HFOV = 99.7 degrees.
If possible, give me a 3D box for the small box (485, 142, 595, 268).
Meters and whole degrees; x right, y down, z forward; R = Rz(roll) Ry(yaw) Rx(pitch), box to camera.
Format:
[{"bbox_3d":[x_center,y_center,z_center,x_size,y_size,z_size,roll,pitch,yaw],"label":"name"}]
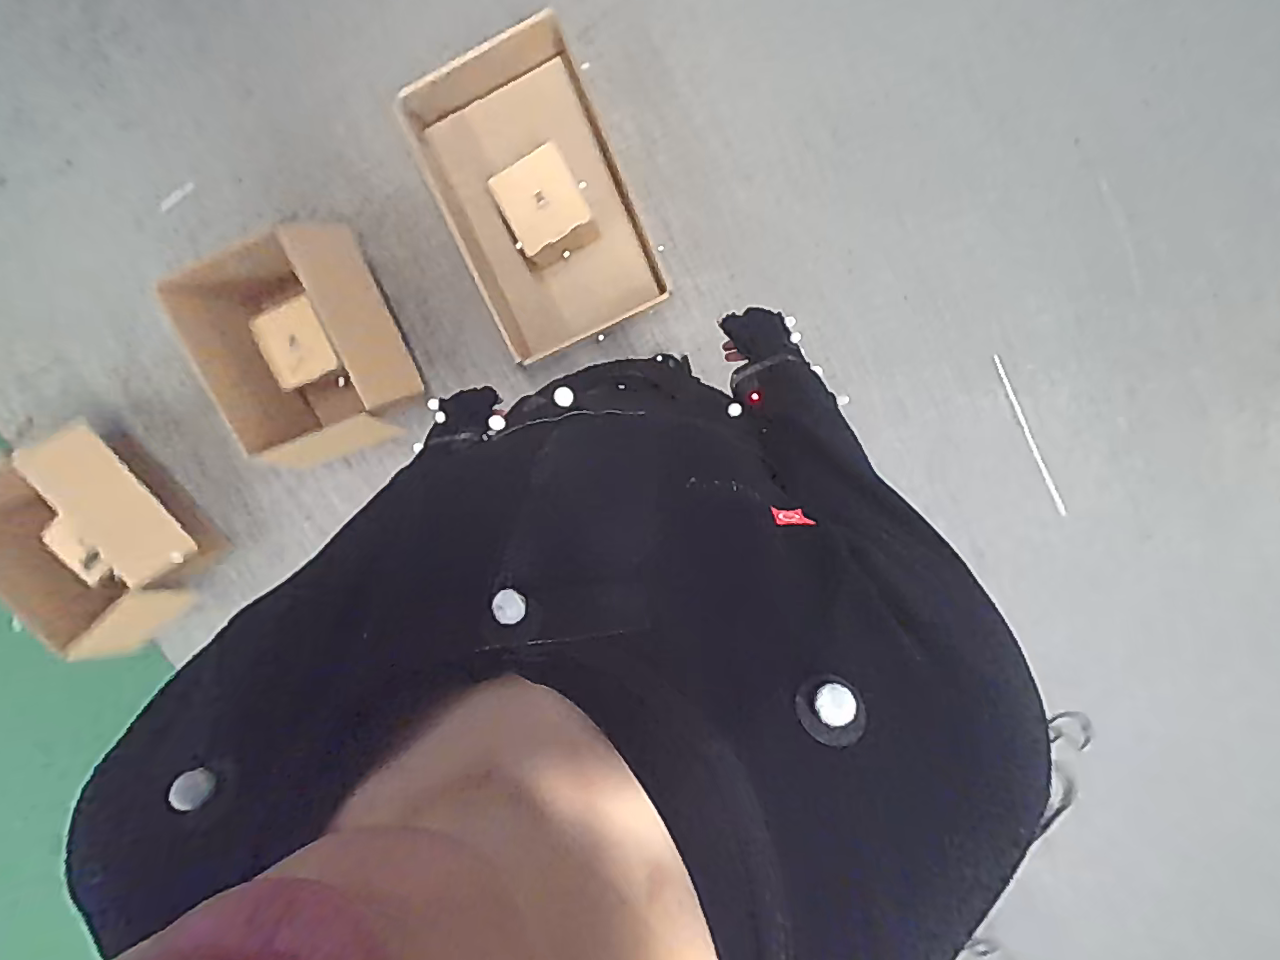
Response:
[{"bbox_3d":[-0.218,-0.609,1.225,0.168,0.176,0.179,-28,100,8],"label":"small box"}]
